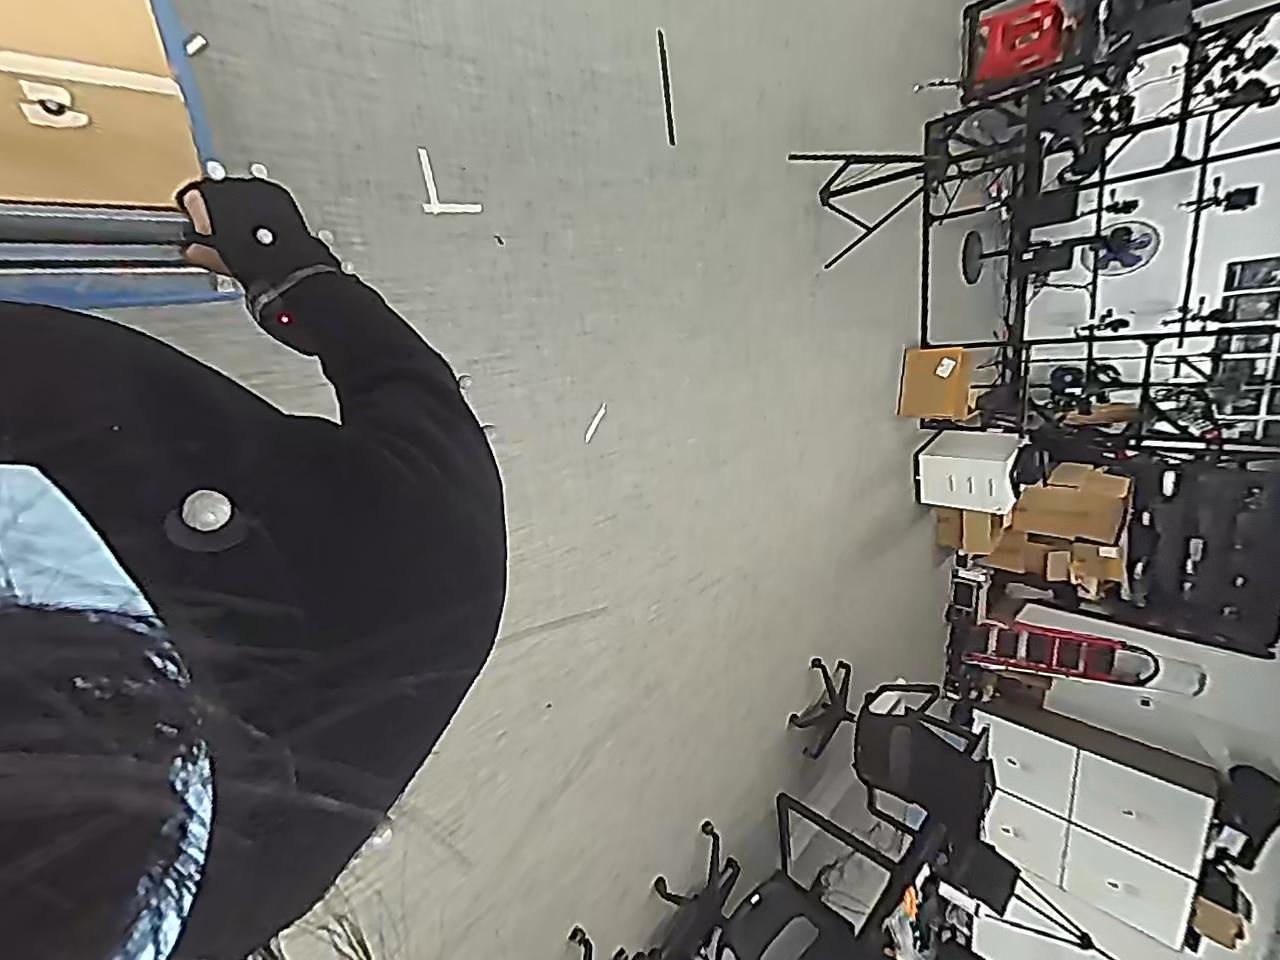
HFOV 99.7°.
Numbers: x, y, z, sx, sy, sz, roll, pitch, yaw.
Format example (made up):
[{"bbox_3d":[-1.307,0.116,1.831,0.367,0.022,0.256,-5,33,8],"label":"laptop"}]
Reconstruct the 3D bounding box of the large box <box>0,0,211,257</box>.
[{"bbox_3d":[-0.891,-0.491,0.730,0.408,0.320,0.320,-20,111,-41],"label":"large box"}]
